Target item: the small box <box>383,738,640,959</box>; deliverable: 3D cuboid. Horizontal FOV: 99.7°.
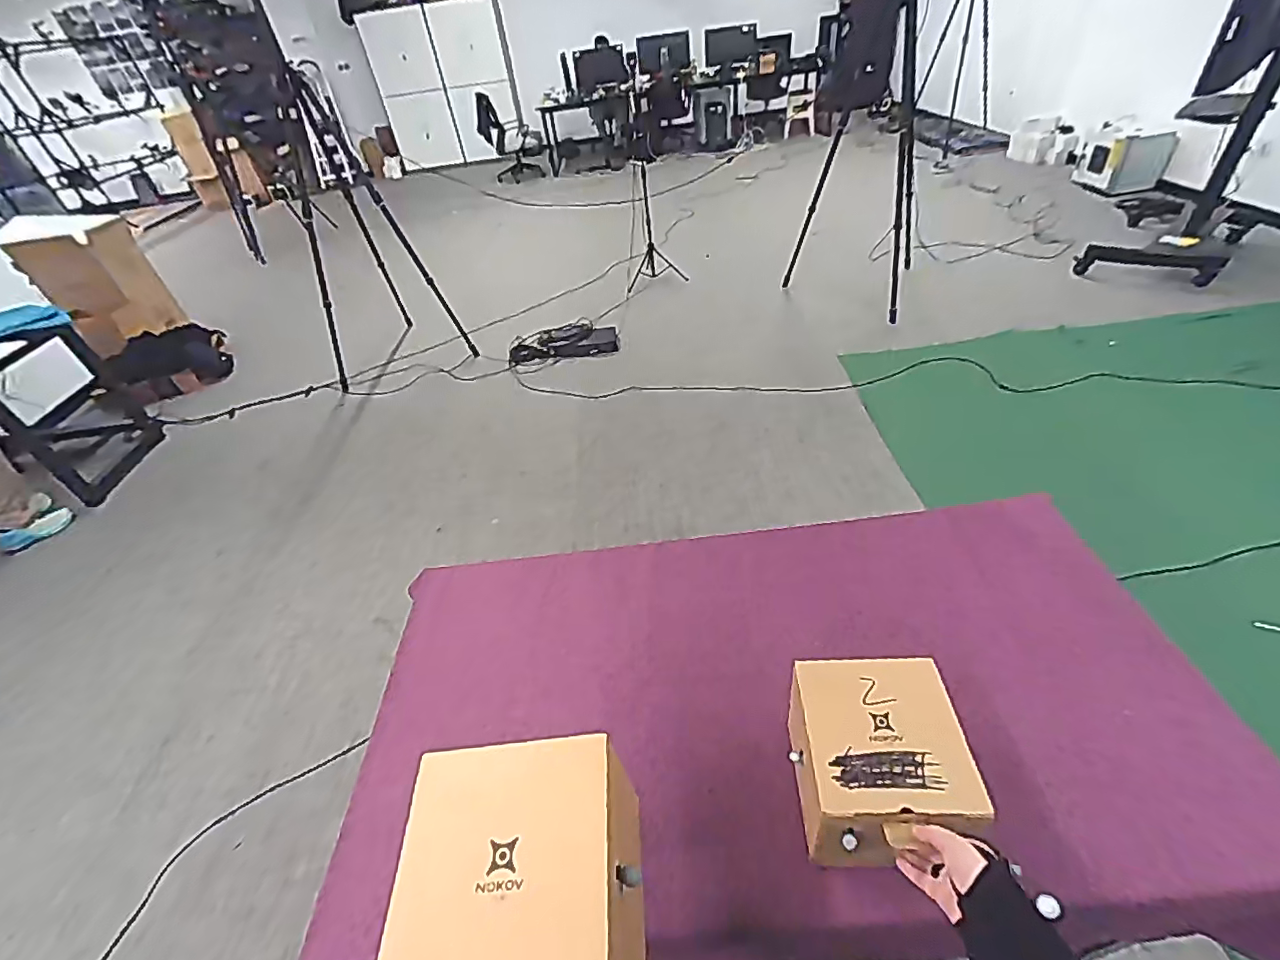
[{"bbox_3d":[-0.094,0.353,0.474,0.168,0.176,0.179,-9,45,4],"label":"small box"}]
